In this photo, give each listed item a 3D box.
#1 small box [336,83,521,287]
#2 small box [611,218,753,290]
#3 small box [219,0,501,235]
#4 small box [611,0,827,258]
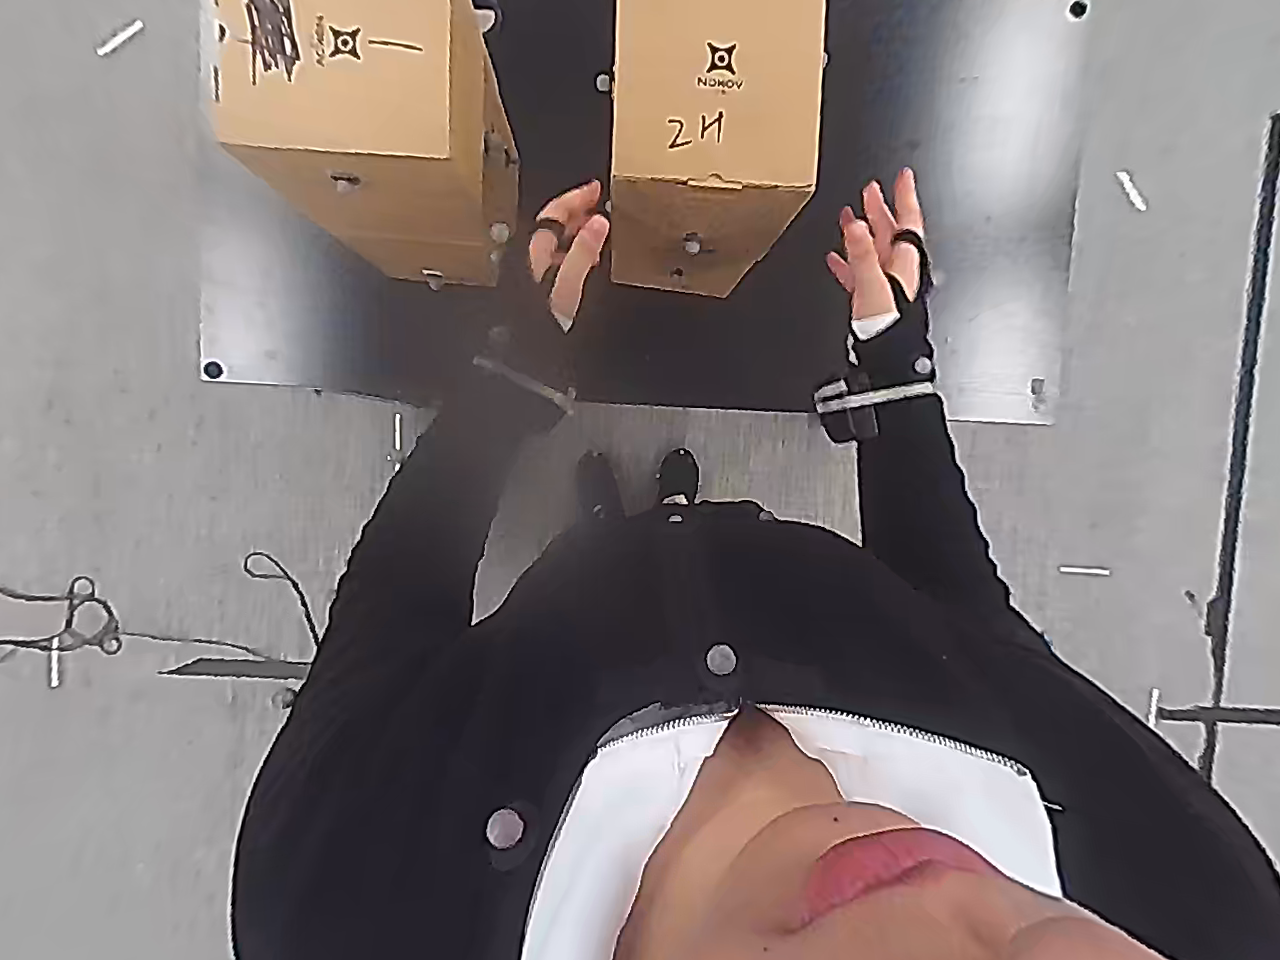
[{"bbox_3d":[-0.242,-0.350,0.652,0.168,0.176,0.179,2,94,-2],"label":"small box"},{"bbox_3d":[0.056,-0.349,0.669,0.168,0.176,0.179,6,94,-4],"label":"small box"},{"bbox_3d":[-0.232,-0.338,0.489,0.179,0.176,0.168,1,93,-3],"label":"small box"},{"bbox_3d":[0.059,-0.330,0.504,0.168,0.176,0.179,2,93,-3],"label":"small box"}]
